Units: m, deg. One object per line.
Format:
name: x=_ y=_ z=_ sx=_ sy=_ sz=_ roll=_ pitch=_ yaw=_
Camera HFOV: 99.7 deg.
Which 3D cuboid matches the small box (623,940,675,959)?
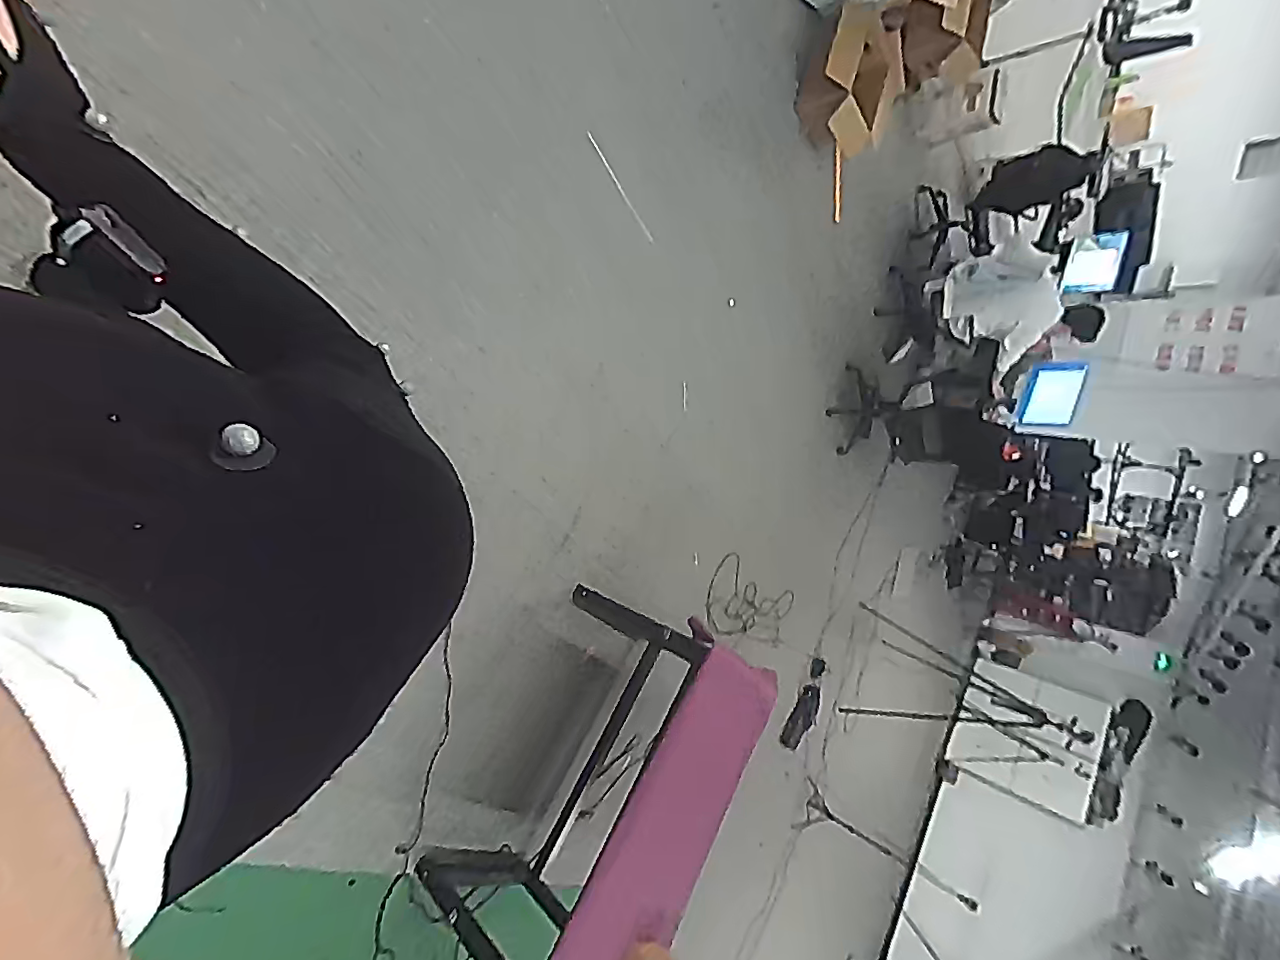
small box: x=0.033 y=1.624 z=1.736 sx=0.179 sy=0.176 sz=0.168 roll=46 pitch=66 yaw=-43
